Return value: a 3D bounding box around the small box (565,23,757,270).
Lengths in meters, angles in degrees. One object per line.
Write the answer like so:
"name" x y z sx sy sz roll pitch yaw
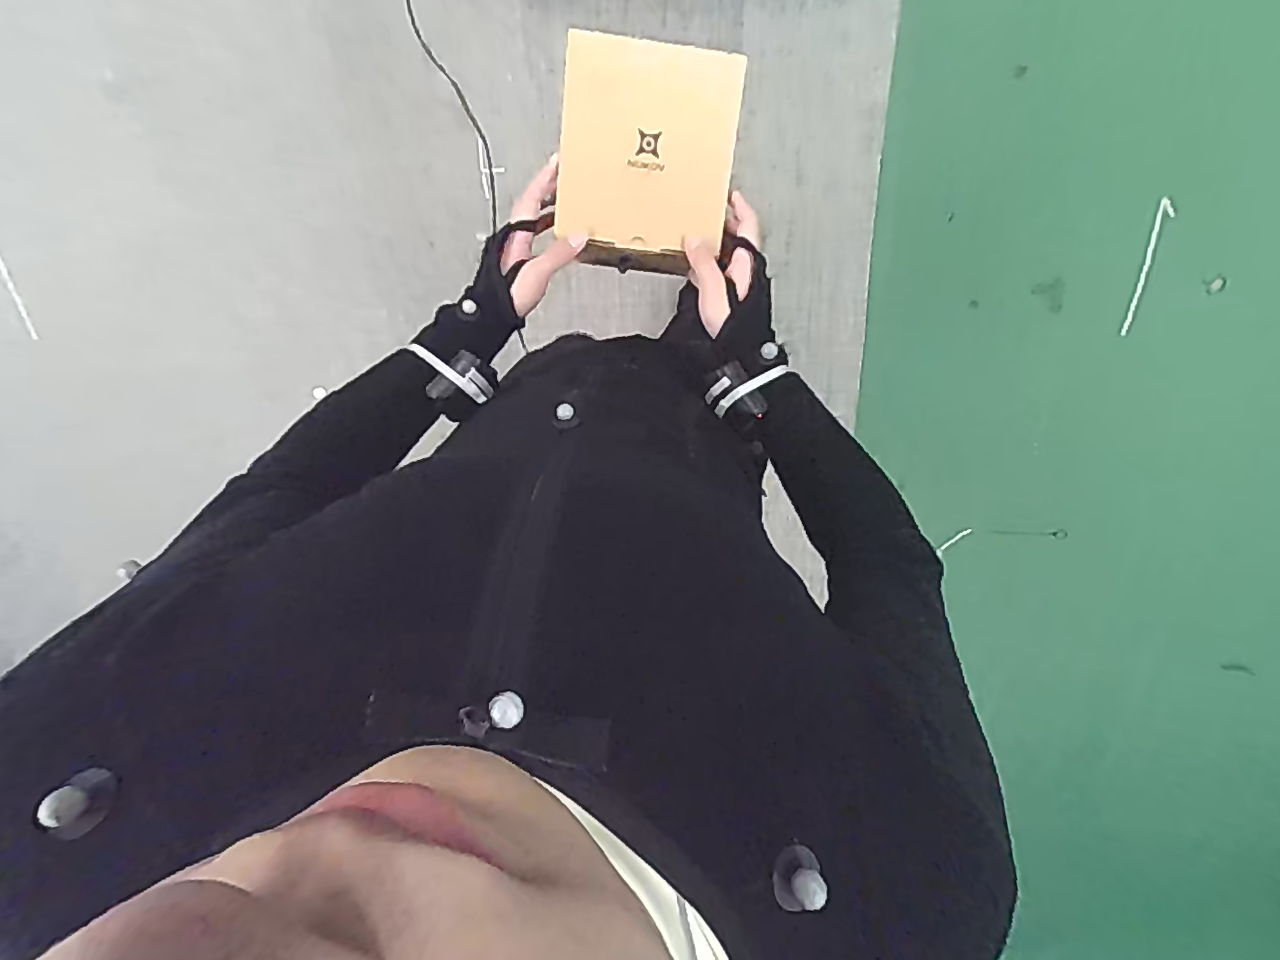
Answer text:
"small box" 0.012 -0.337 0.585 0.168 0.176 0.179 6 106 -5
